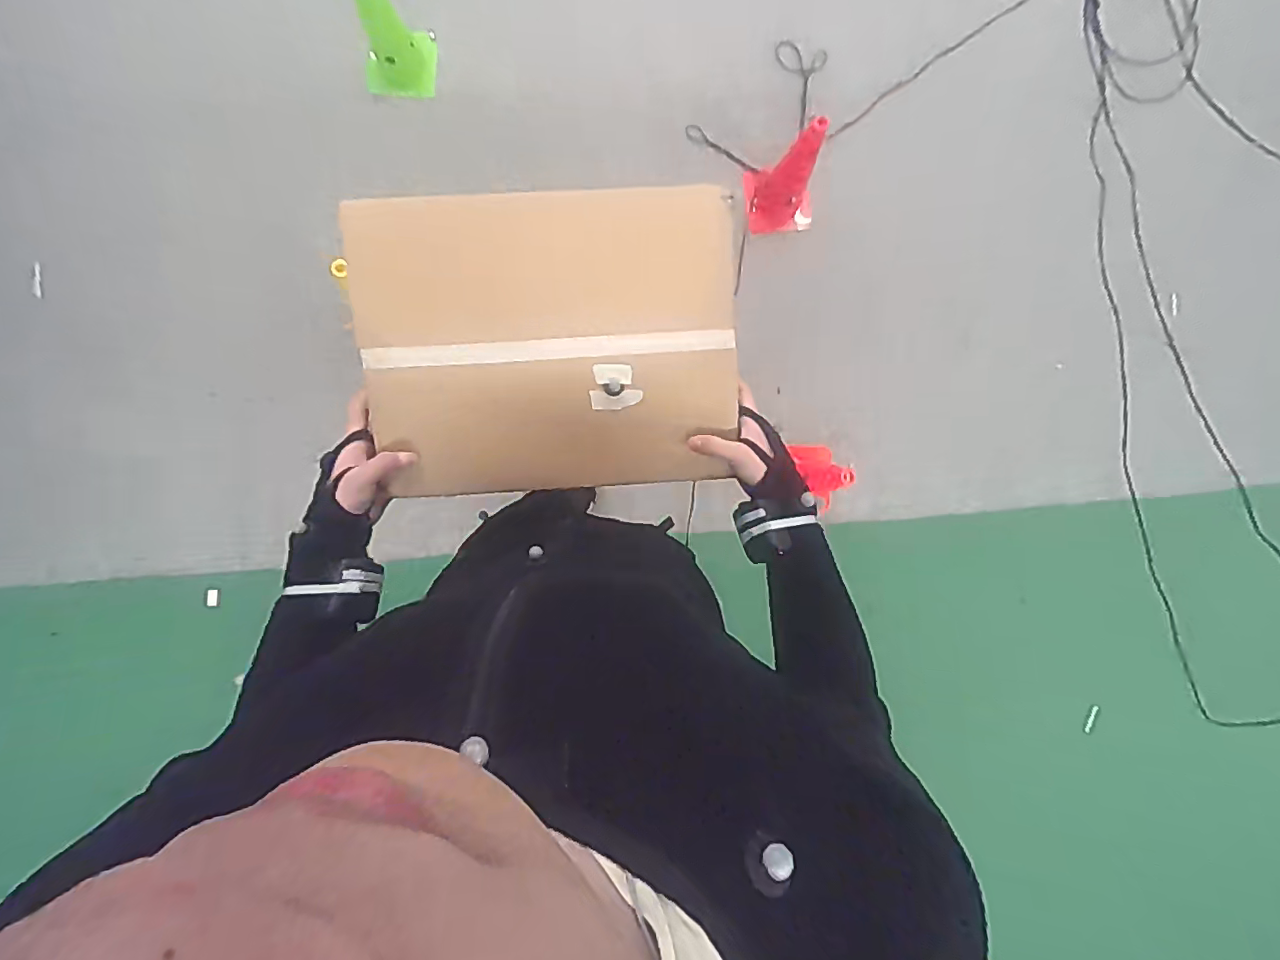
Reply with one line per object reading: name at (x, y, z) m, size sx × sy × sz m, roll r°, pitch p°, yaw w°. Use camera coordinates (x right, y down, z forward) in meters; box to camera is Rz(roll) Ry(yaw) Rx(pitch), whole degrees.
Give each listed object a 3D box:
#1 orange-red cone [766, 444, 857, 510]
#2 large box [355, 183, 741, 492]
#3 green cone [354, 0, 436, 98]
orange-red cone at (0.503, -0.006, 1.492) m, size 0.199 × 0.360 × 0.198 m, roll 3°, pitch 90°, yaw -5°
large box at (-0.100, -0.179, 0.742) m, size 0.408 × 0.320 × 0.320 m, roll -4°, pitch 102°, yaw -3°
green cone at (-0.701, -1.237, 1.433) m, size 0.200 × 0.368 × 0.202 m, roll 2°, pitch 91°, yaw -3°
